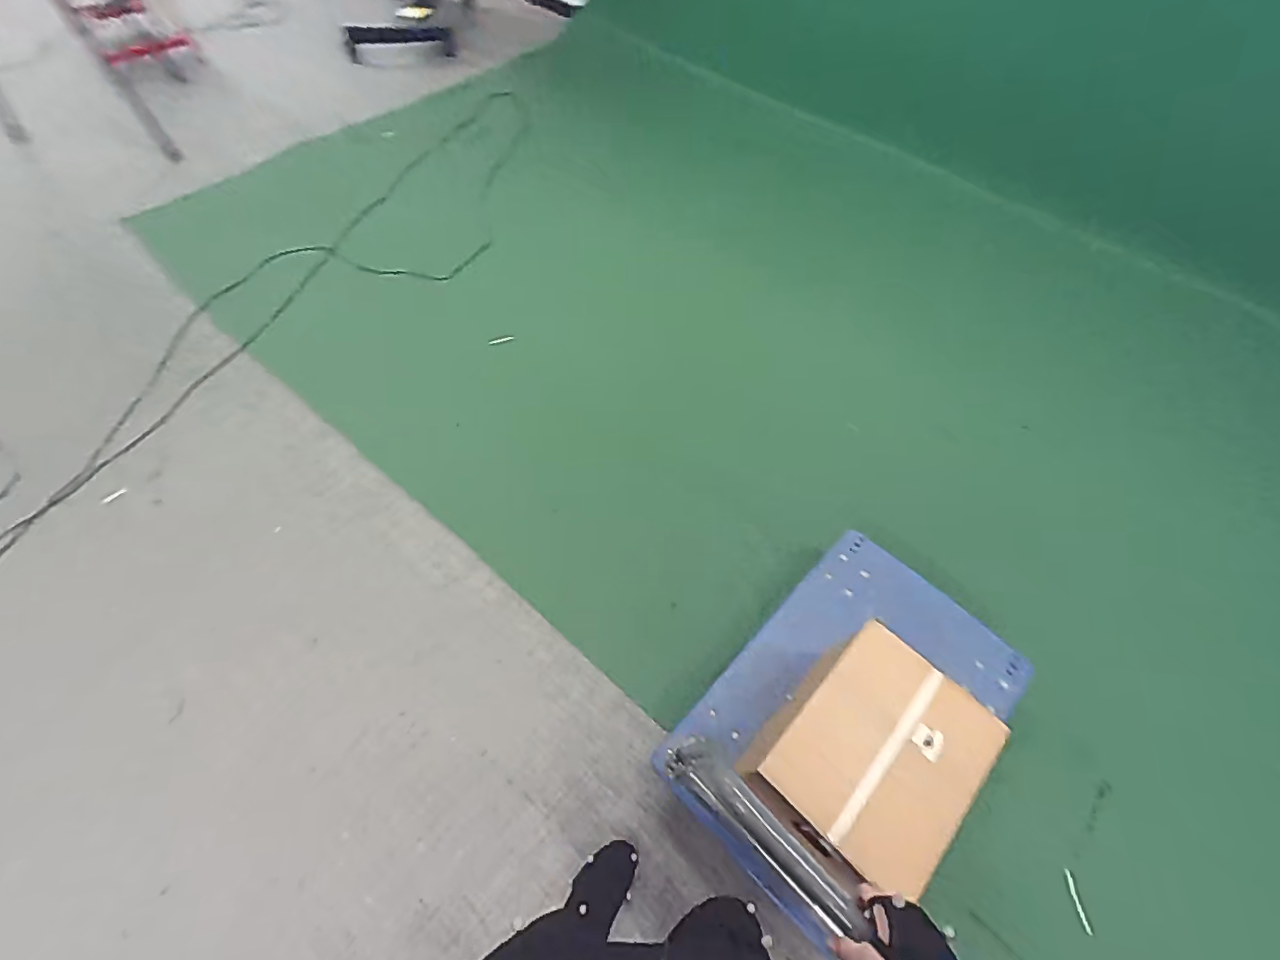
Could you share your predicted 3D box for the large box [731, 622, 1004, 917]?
[{"bbox_3d":[0.453,0.588,1.139,0.320,0.320,0.408,42,65,19],"label":"large box"}]
